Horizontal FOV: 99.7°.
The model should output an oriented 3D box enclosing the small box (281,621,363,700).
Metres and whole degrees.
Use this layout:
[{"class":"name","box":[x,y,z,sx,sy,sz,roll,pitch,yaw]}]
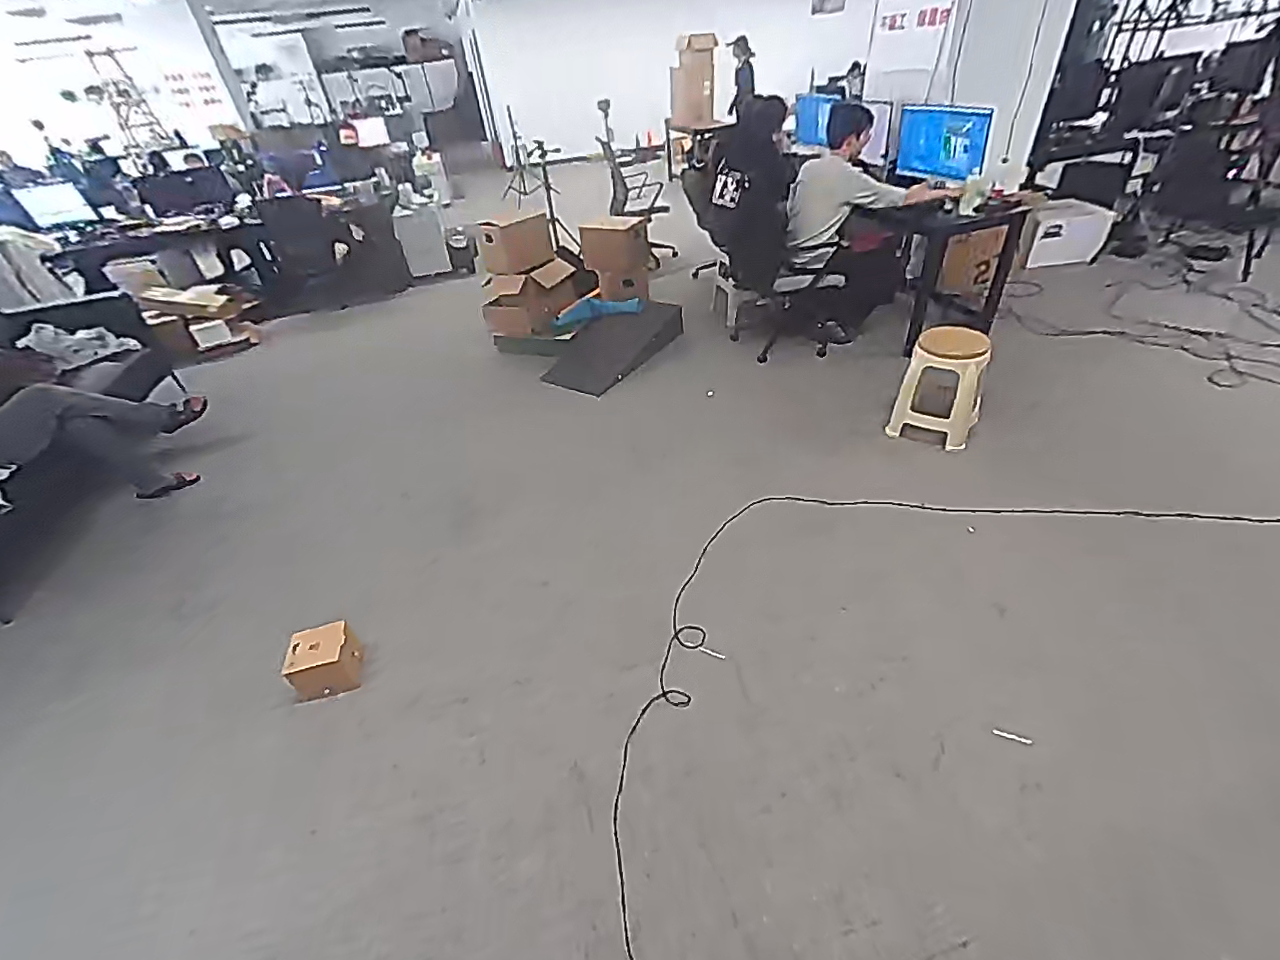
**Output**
[{"class":"small box","box":[-1.062,0.610,1.824,0.179,0.176,0.168,-13,38,-8]}]
